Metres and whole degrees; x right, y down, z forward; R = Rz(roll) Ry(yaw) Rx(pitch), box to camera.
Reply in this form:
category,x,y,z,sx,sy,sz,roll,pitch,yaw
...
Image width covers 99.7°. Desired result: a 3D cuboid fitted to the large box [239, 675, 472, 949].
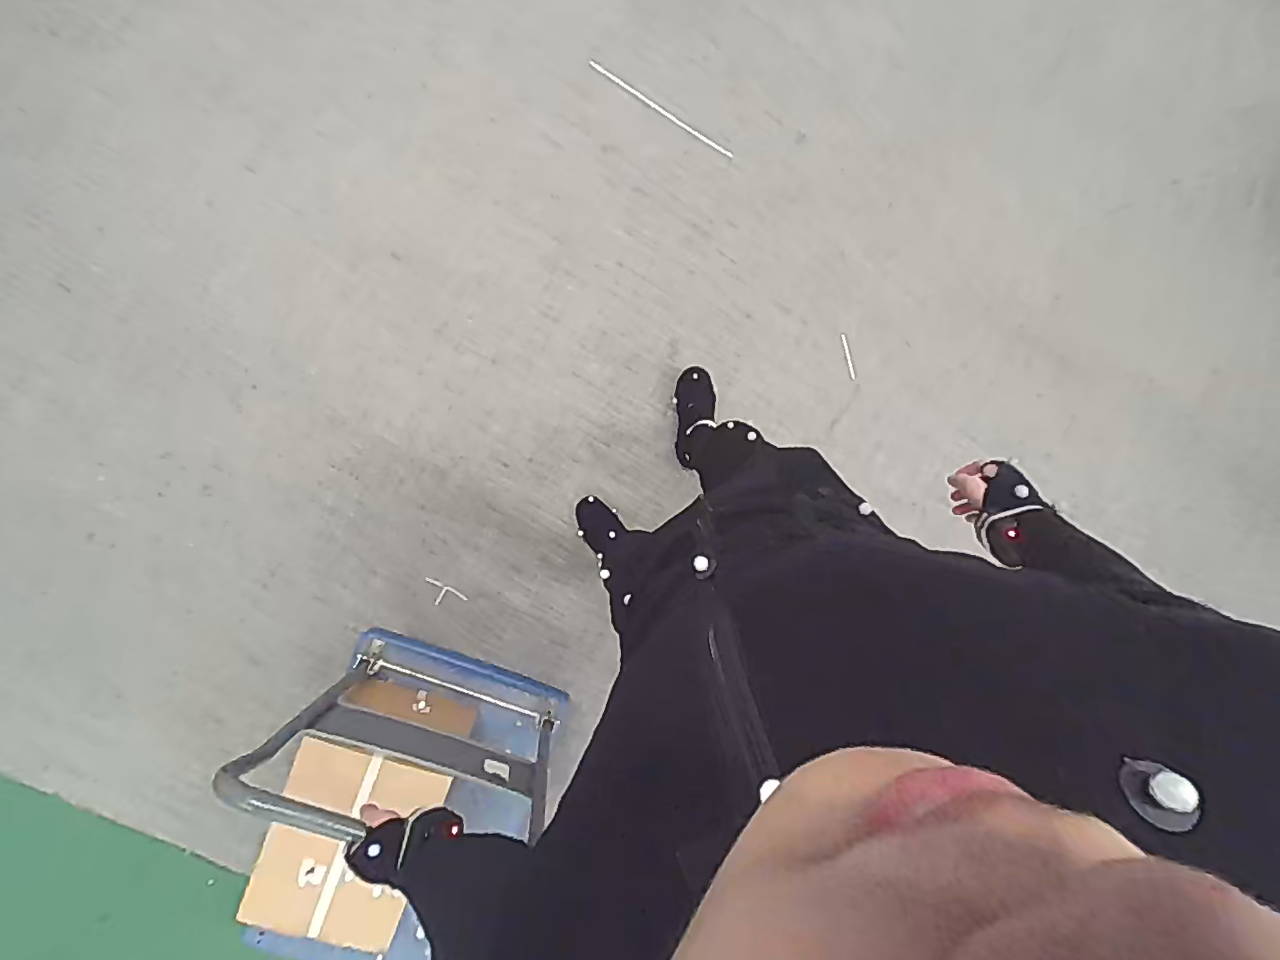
category,x,y,z,sx,sy,sz,roll,pitch,yaw
large box,-0.619,0.732,1.249,0.320,0.320,0.408,20,91,-7
